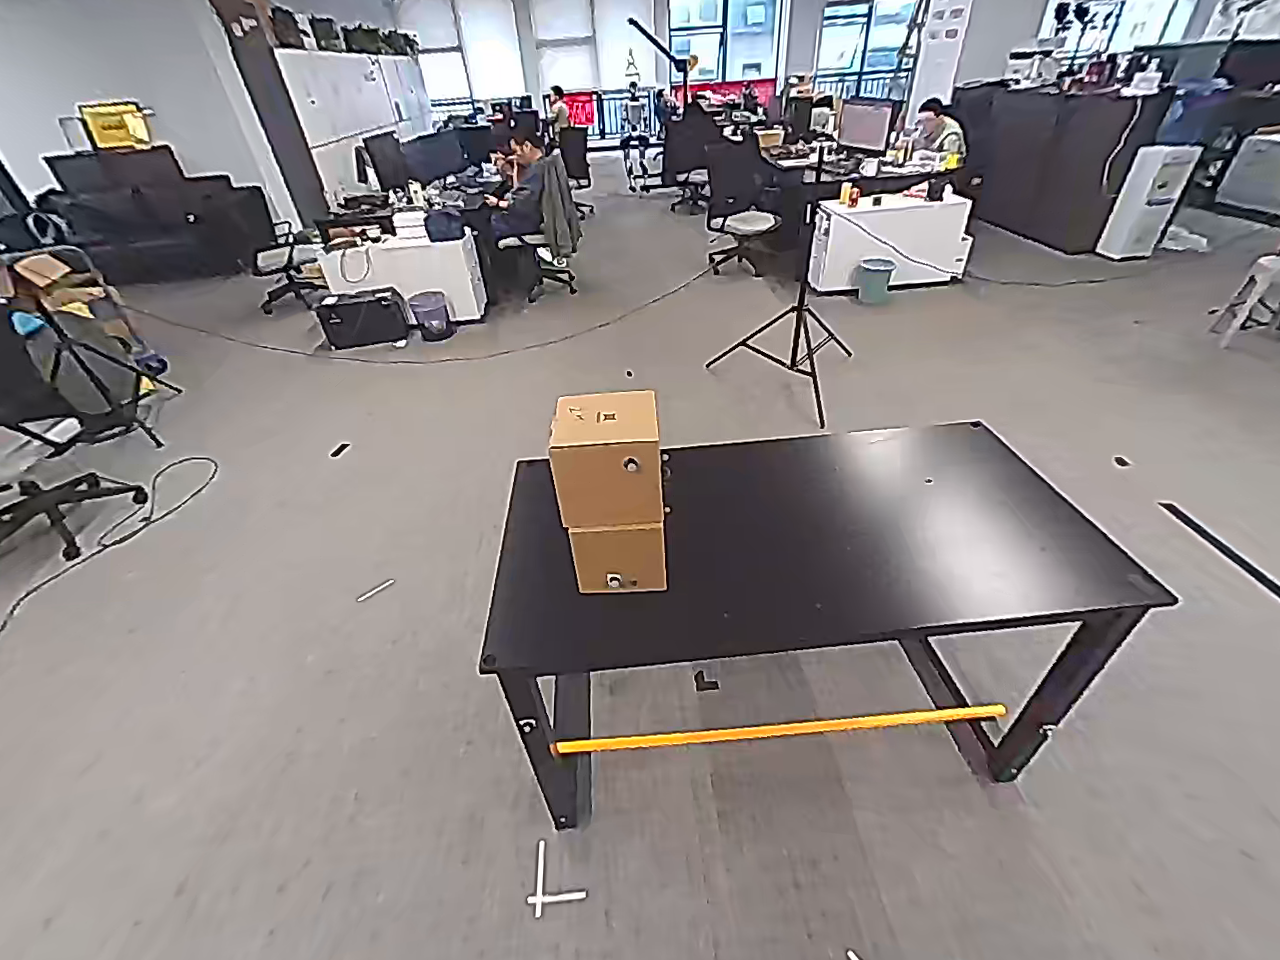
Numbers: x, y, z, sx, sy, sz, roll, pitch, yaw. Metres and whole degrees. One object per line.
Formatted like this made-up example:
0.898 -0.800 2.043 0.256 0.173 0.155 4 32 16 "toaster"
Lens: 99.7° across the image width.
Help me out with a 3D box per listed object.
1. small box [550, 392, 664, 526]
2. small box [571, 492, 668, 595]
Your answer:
-0.049 -0.036 0.945 0.179 0.176 0.168 -4 37 2 "small box"
-0.033 0.099 1.040 0.168 0.176 0.179 -4 38 2 "small box"
